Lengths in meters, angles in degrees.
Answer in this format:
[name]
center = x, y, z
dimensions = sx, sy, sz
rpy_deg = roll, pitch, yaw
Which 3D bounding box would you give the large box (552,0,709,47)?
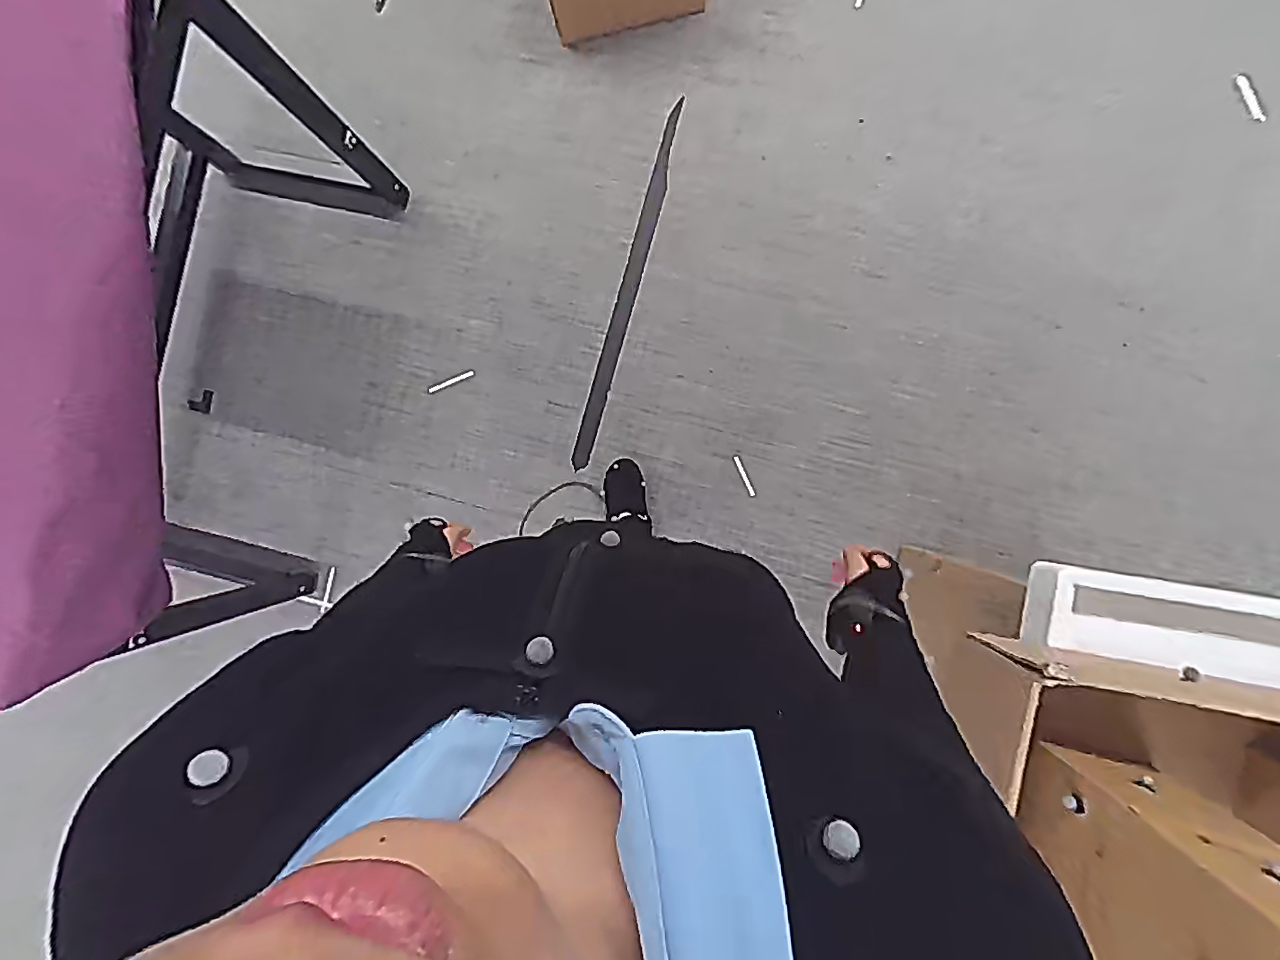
[large box]
center = -0.052, -1.373, 1.326
dimensions = 0.408, 0.320, 0.320
rpy_deg = -12, 89, 5

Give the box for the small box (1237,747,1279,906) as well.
[small box]
center = 0.838, 0.435, 0.599
dimensions = 0.168, 0.176, 0.179
rpy_deg = 7, 93, 6
